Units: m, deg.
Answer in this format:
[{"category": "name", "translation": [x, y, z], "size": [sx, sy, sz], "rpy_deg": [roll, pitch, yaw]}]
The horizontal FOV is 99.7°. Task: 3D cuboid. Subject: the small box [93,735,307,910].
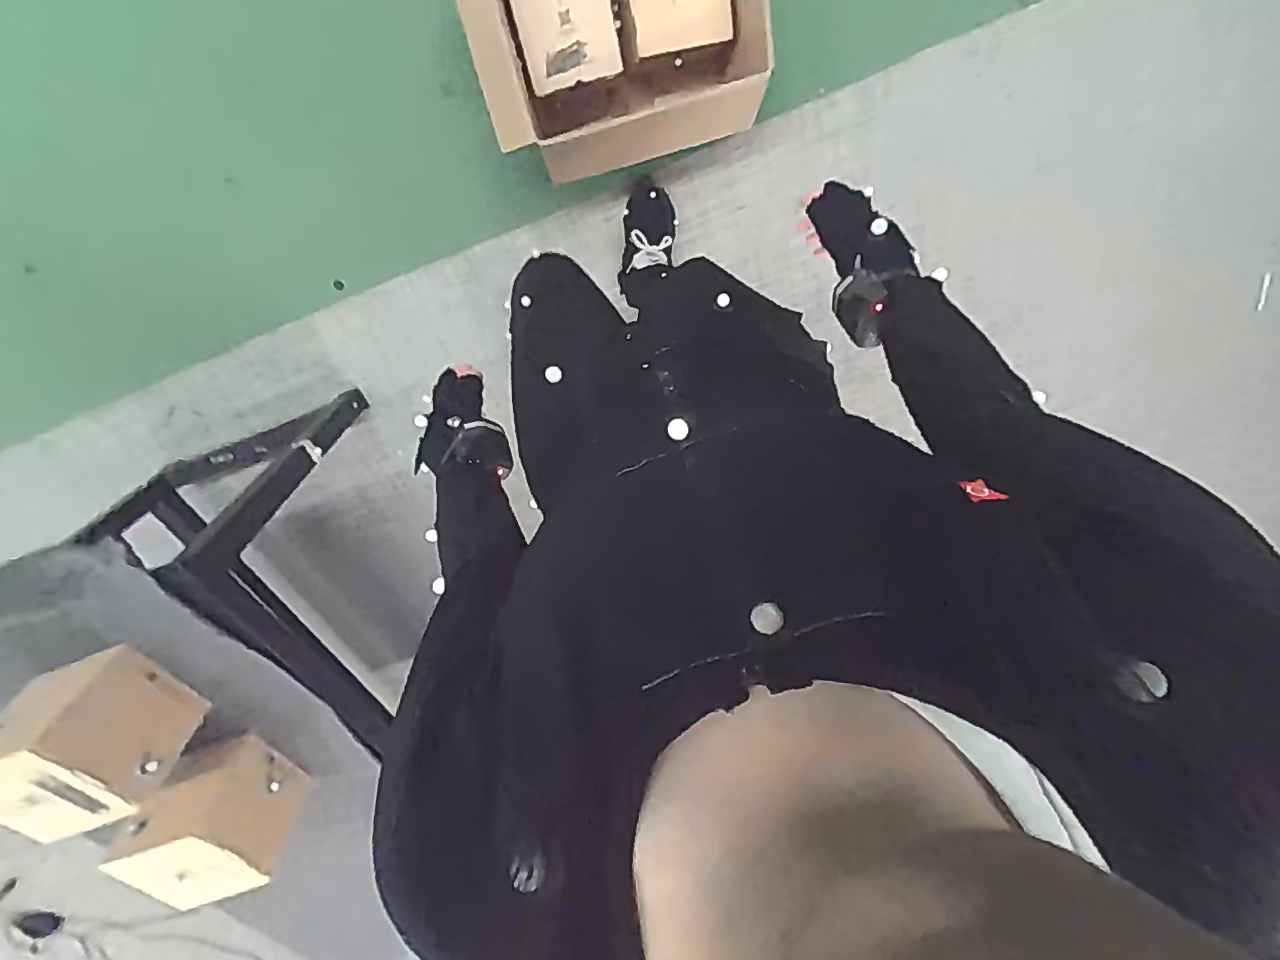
[{"category": "small box", "translation": [-0.701, 0.557, 0.889], "size": [0.179, 0.176, 0.168], "rpy_deg": [-21, 121, 5]}]
